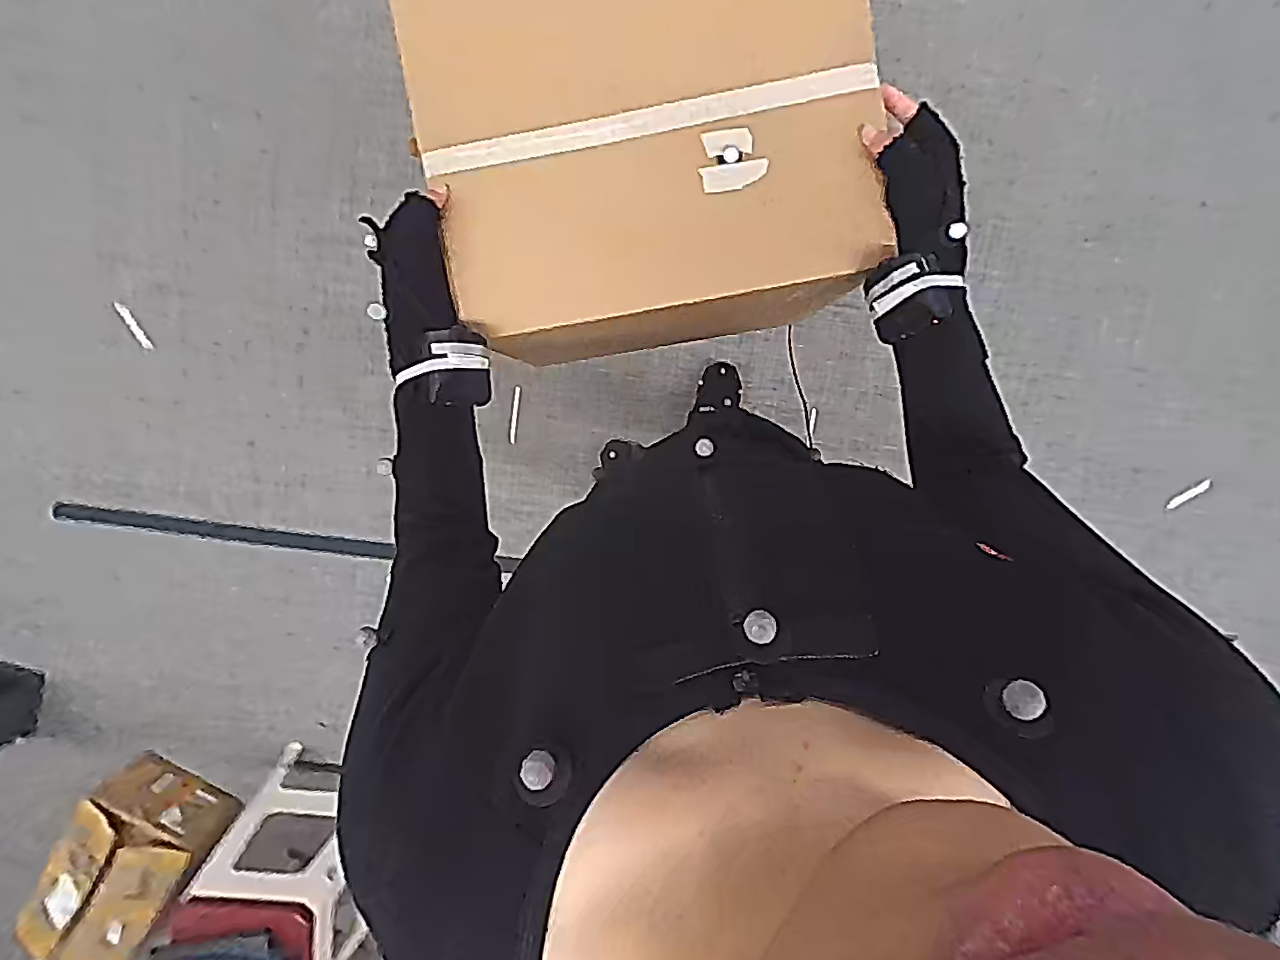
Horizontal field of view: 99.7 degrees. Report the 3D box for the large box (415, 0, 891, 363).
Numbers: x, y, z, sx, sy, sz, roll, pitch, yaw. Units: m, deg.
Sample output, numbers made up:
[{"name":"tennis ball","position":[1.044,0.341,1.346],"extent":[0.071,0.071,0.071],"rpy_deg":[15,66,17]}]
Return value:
[{"name":"large box","position":[0.017,-0.339,0.642],"extent":[0.408,0.320,0.320],"rpy_deg":[-9,97,2]}]
